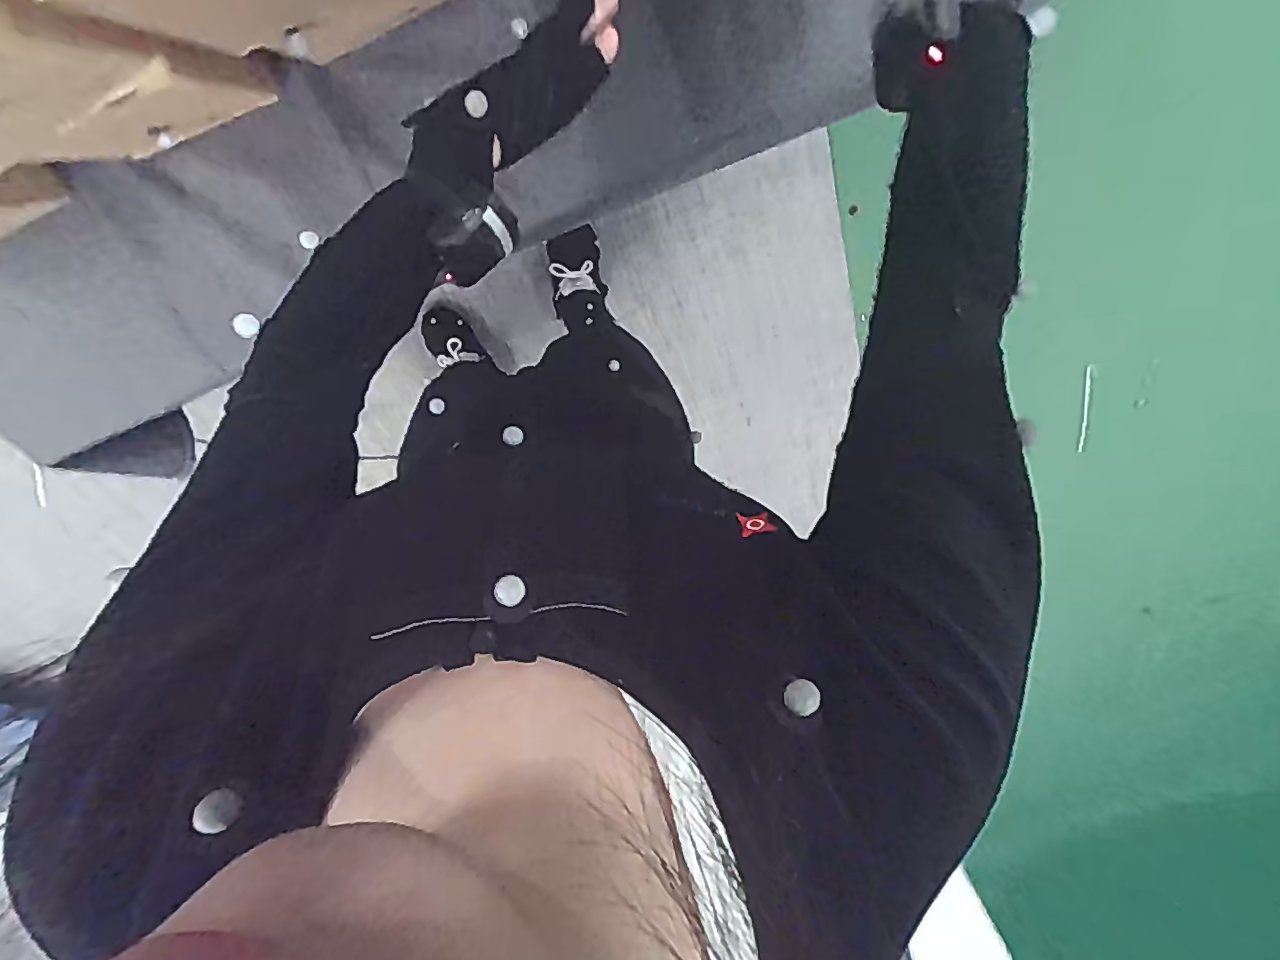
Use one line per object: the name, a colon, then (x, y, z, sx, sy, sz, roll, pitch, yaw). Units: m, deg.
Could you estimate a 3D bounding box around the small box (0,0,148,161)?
small box: (-0.425, -0.278, 0.274, 0.179, 0.176, 0.168, -25, 123, 10)
